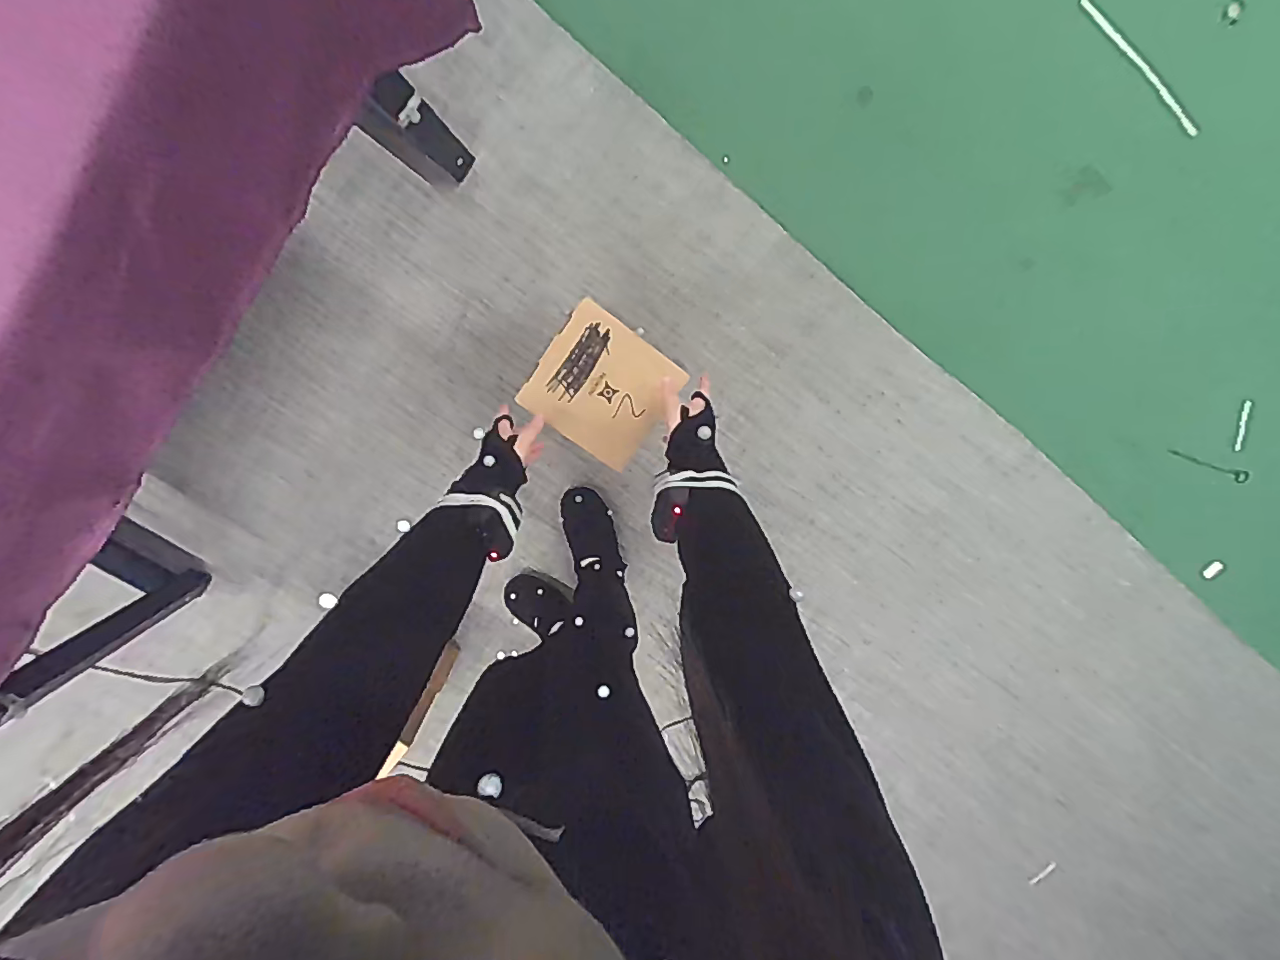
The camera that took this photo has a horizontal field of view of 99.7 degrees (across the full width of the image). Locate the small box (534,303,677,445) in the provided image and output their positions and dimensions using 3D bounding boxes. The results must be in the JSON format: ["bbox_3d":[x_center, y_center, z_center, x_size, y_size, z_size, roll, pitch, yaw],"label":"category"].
[{"bbox_3d":[-0.059,-0.189,0.949,0.179,0.176,0.168,37,99,-12],"label":"small box"}]
